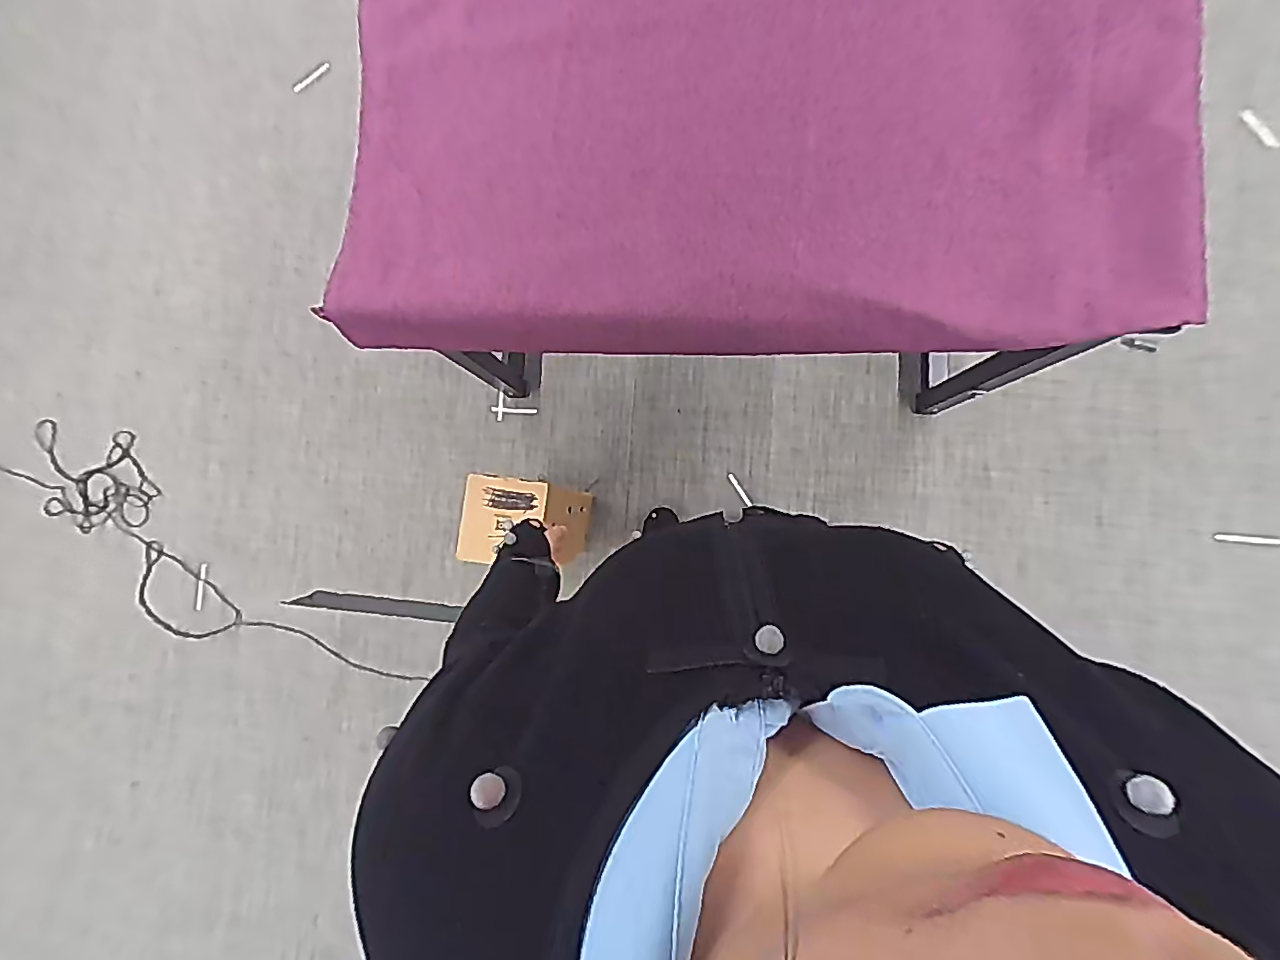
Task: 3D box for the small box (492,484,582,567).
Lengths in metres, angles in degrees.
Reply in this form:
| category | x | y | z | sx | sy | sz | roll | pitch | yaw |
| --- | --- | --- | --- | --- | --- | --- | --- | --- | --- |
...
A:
| category | x | y | z | sx | sy | sz | roll | pitch | yaw |
| --- | --- | --- | --- | --- | --- | --- | --- | --- | --- |
| small box | -0.239 | 0.108 | 1.294 | 0.168 | 0.176 | 0.179 | 5 | 87 | 6 |

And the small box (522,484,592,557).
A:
| category | x | y | z | sx | sy | sz | roll | pitch | yaw |
| --- | --- | --- | --- | --- | --- | --- | --- | --- | --- |
| small box | -0.232 | 0.114 | 1.459 | 0.168 | 0.176 | 0.179 | 10 | 87 | 5 |
